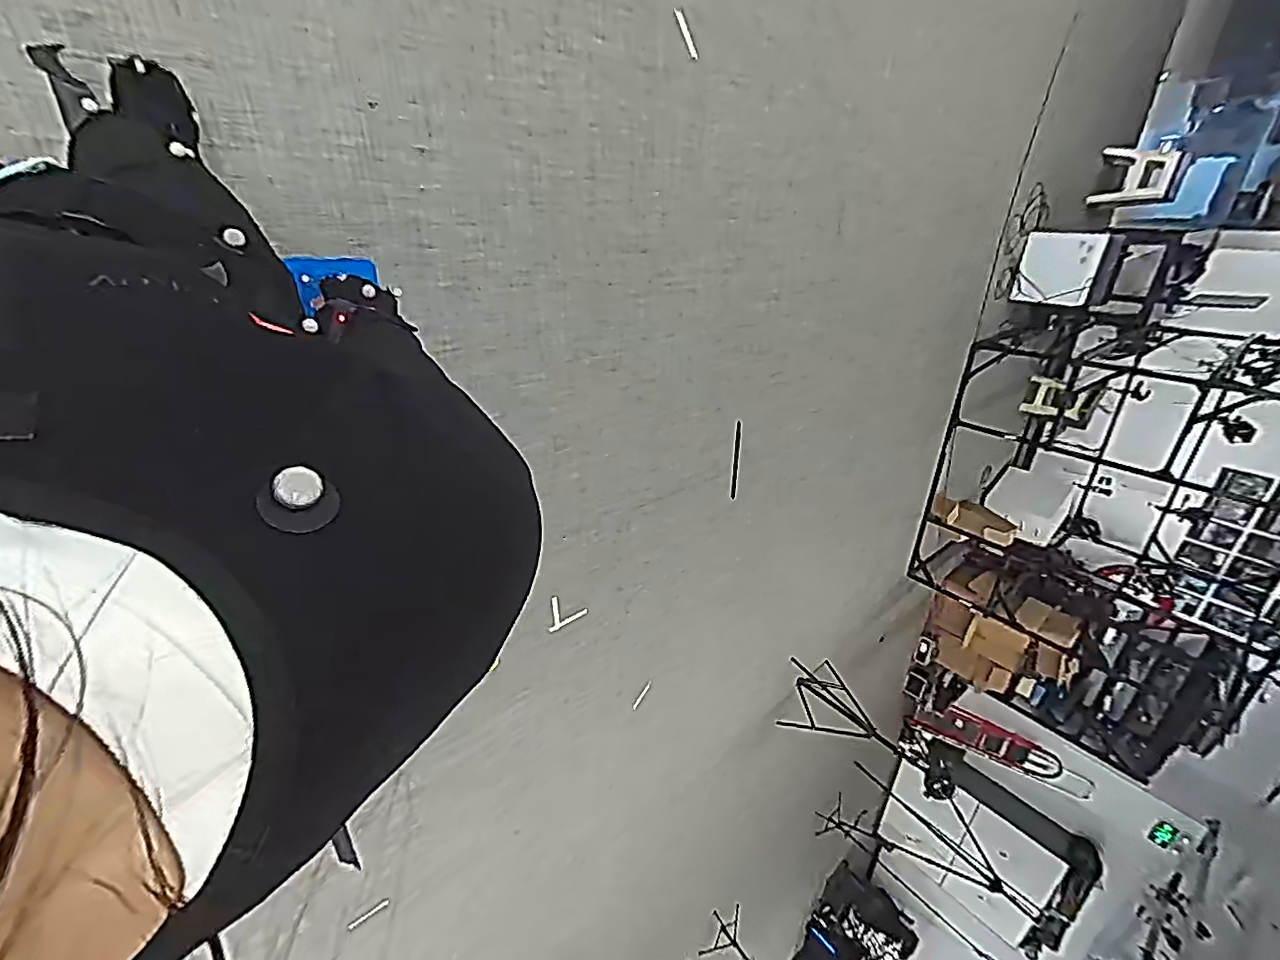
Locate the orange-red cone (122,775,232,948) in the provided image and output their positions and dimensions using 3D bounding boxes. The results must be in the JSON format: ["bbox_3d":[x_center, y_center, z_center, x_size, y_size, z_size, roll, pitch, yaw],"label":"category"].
[{"bbox_3d":[-1.097,0.943,1.297,0.199,0.360,0.198,-13,118,-37],"label":"orange-red cone"}]

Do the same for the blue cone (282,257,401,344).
[{"bbox_3d":[-0.593,-0.352,1.126,0.192,0.380,0.193,-16,121,-39],"label":"blue cone"}]
